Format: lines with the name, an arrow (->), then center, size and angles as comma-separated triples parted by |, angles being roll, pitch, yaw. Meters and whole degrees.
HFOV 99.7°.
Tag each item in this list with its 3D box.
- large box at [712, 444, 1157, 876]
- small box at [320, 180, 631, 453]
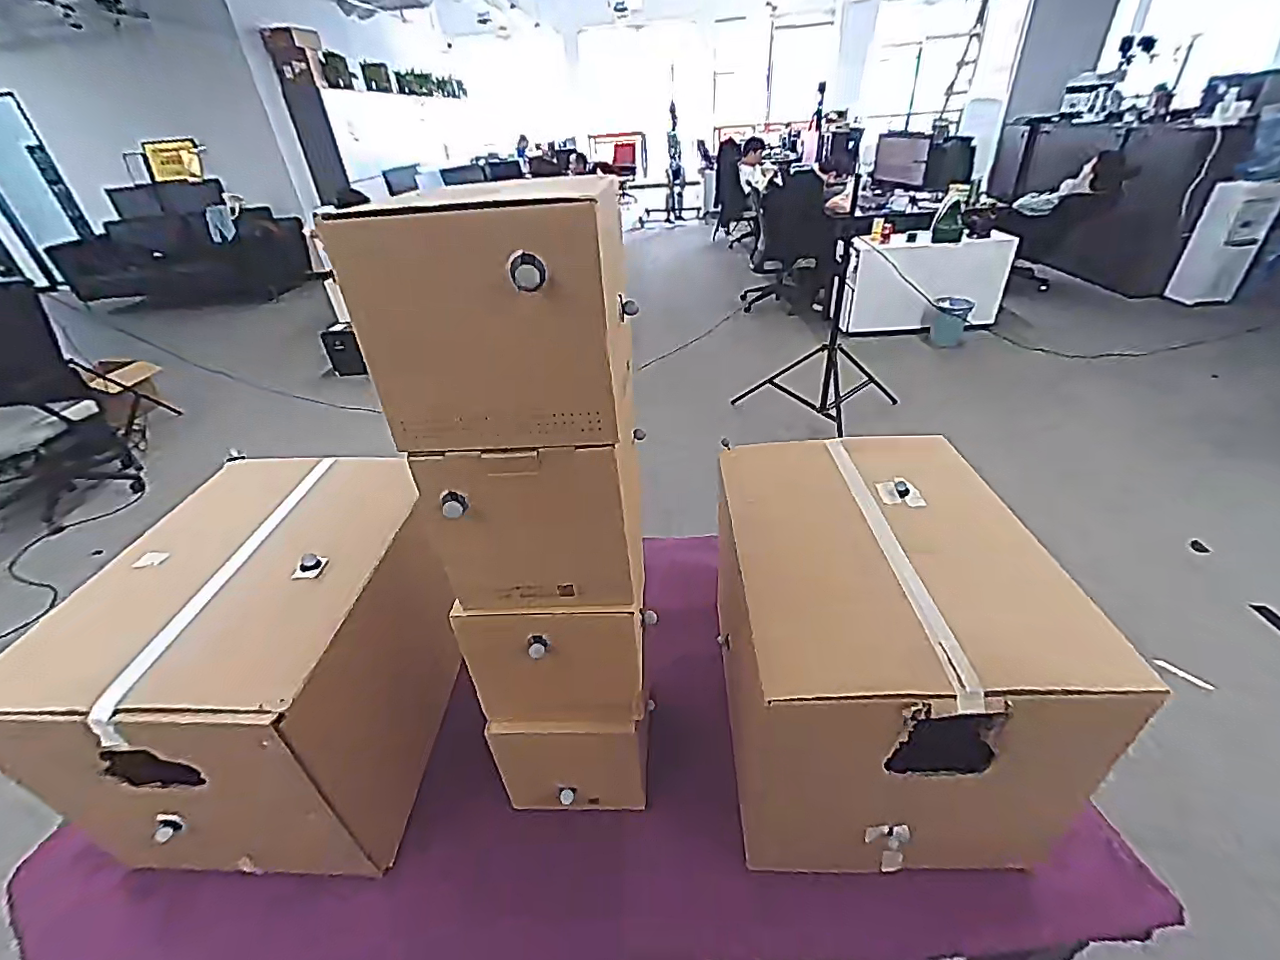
large box -> 0.265, 0.193, 0.668 | 0.320, 0.320, 0.408 | -3, 32, 3
small box -> -0.102, -0.133, 0.435 | 0.179, 0.176, 0.168 | -2, 32, 5
